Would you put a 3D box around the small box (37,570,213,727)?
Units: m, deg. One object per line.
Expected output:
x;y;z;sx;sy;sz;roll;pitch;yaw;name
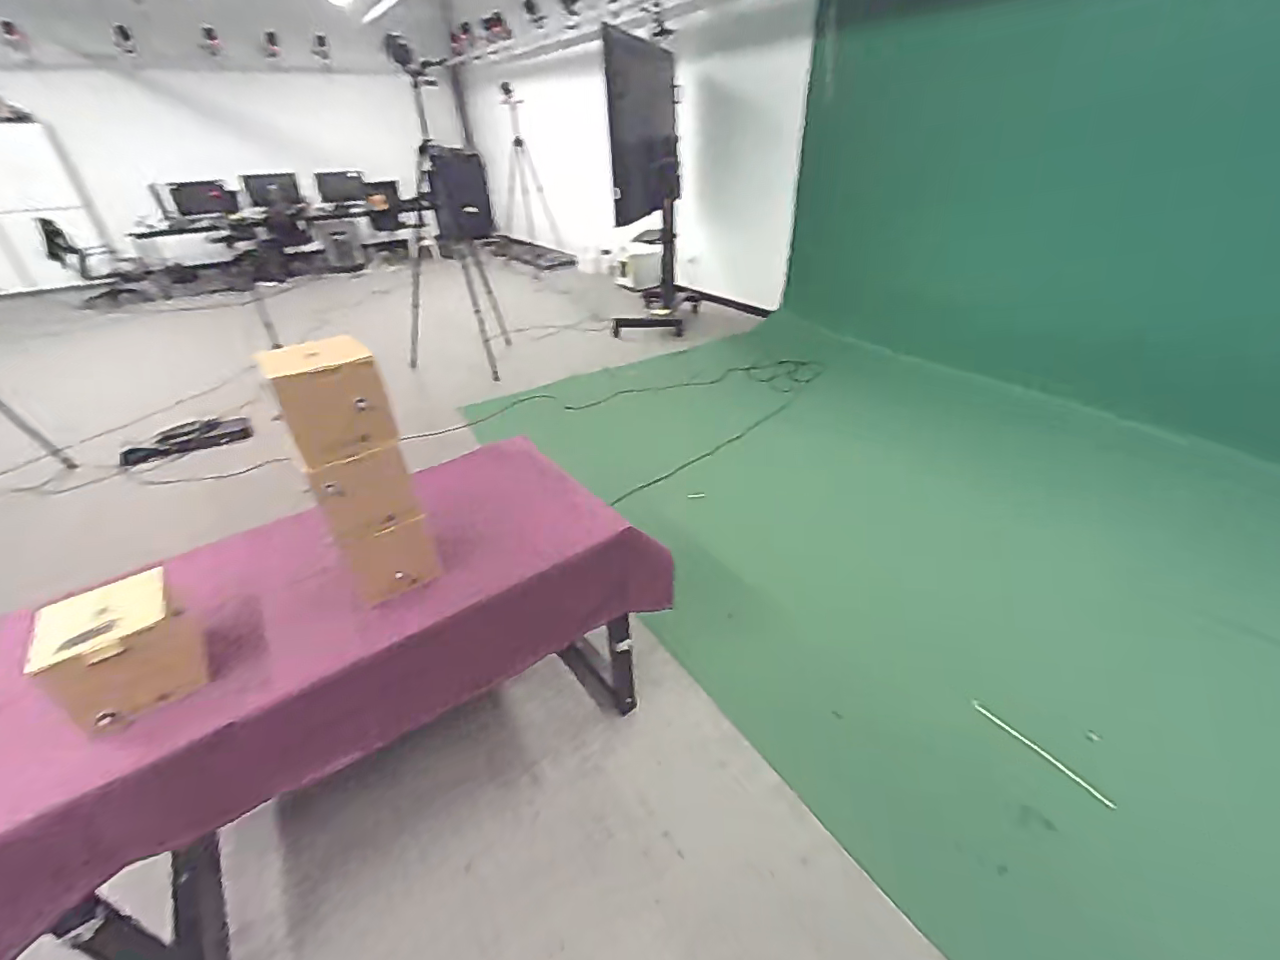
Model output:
-0.877;0.295;0.940;0.168;0.176;0.179;-25;38;-30;small box

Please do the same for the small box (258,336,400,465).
-0.563;-0.145;0.988;0.168;0.176;0.179;-24;37;-30;small box

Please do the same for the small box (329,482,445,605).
-0.541;0.133;1.160;0.168;0.176;0.179;-23;38;-27;small box
